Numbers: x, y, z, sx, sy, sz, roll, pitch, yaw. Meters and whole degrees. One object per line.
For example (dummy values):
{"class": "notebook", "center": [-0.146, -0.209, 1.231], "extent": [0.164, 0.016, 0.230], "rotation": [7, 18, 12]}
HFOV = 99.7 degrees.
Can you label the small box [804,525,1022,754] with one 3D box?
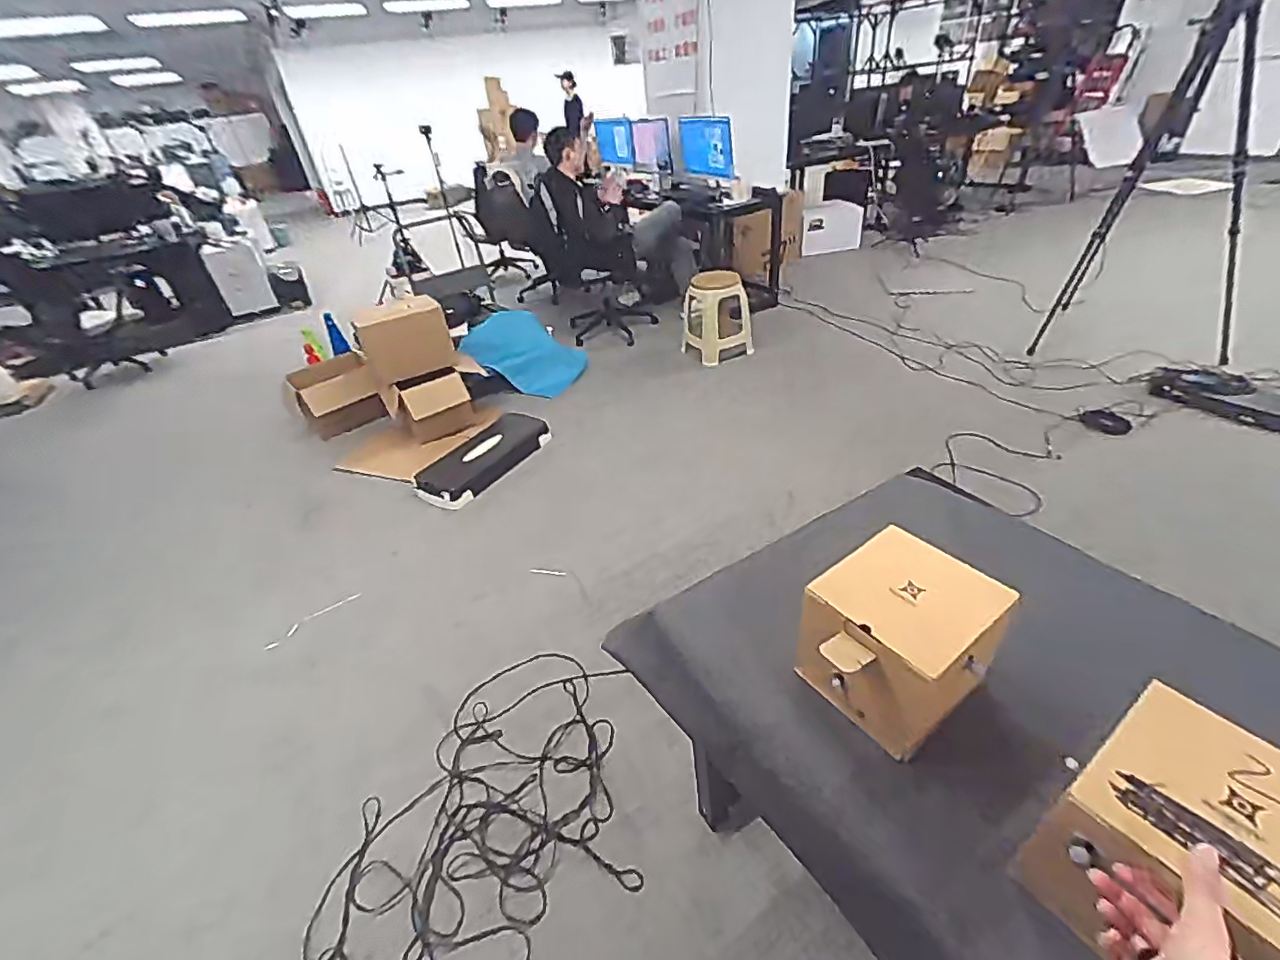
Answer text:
{"class": "small box", "center": [0.325, 0.194, 0.677], "extent": [0.179, 0.176, 0.168], "rotation": [-27, 41, -25]}
